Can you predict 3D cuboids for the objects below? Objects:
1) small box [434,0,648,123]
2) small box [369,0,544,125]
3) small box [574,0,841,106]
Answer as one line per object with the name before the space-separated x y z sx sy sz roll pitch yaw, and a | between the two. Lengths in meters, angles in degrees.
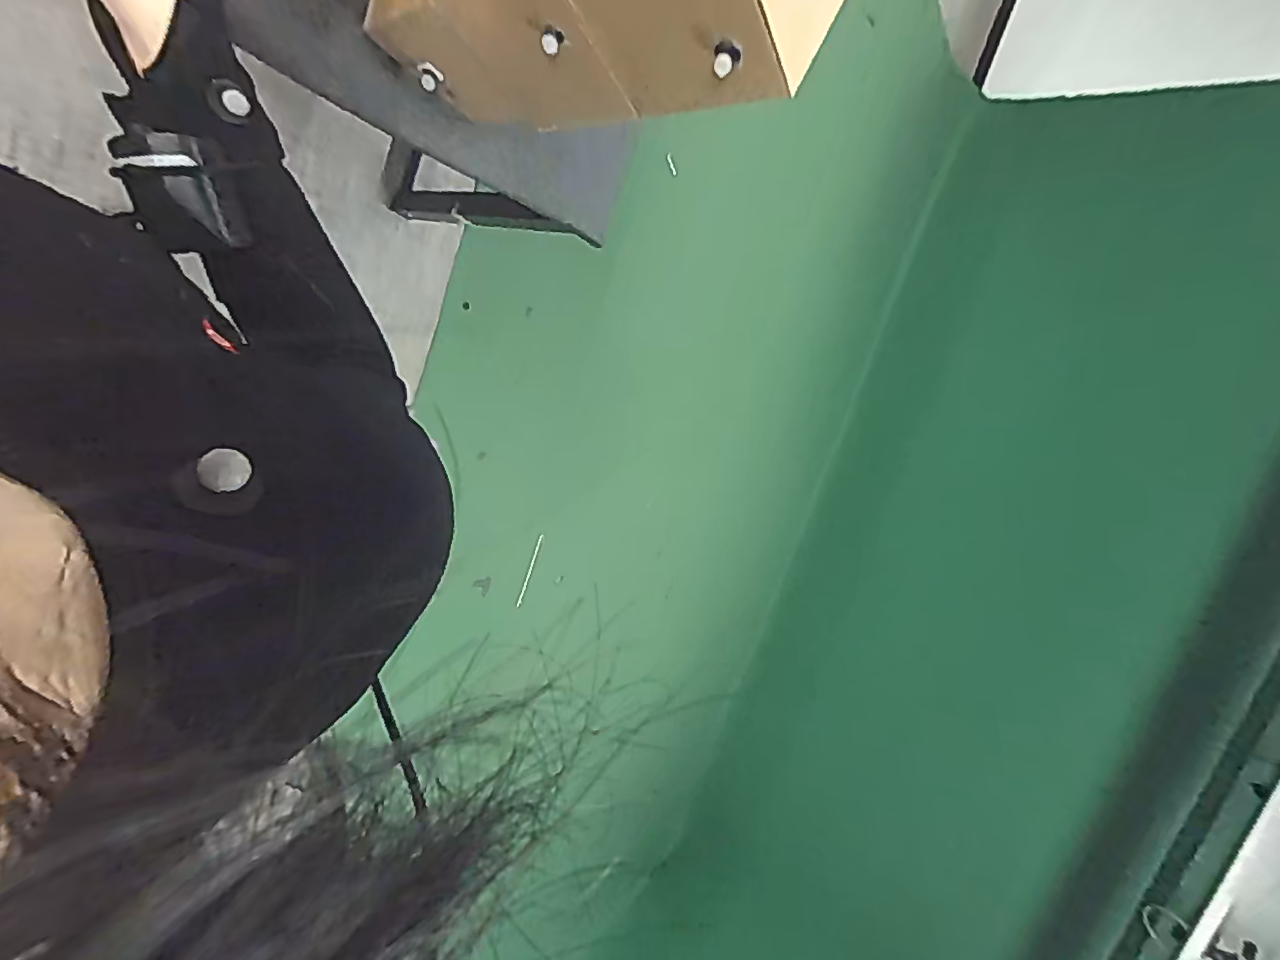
small box | -0.068 -0.479 0.518 0.179 0.176 0.168 30 85 -51
small box | -0.180 -0.545 0.617 0.168 0.176 0.179 13 99 -51
small box | 0.052 -0.428 0.419 0.179 0.176 0.168 33 83 -51
